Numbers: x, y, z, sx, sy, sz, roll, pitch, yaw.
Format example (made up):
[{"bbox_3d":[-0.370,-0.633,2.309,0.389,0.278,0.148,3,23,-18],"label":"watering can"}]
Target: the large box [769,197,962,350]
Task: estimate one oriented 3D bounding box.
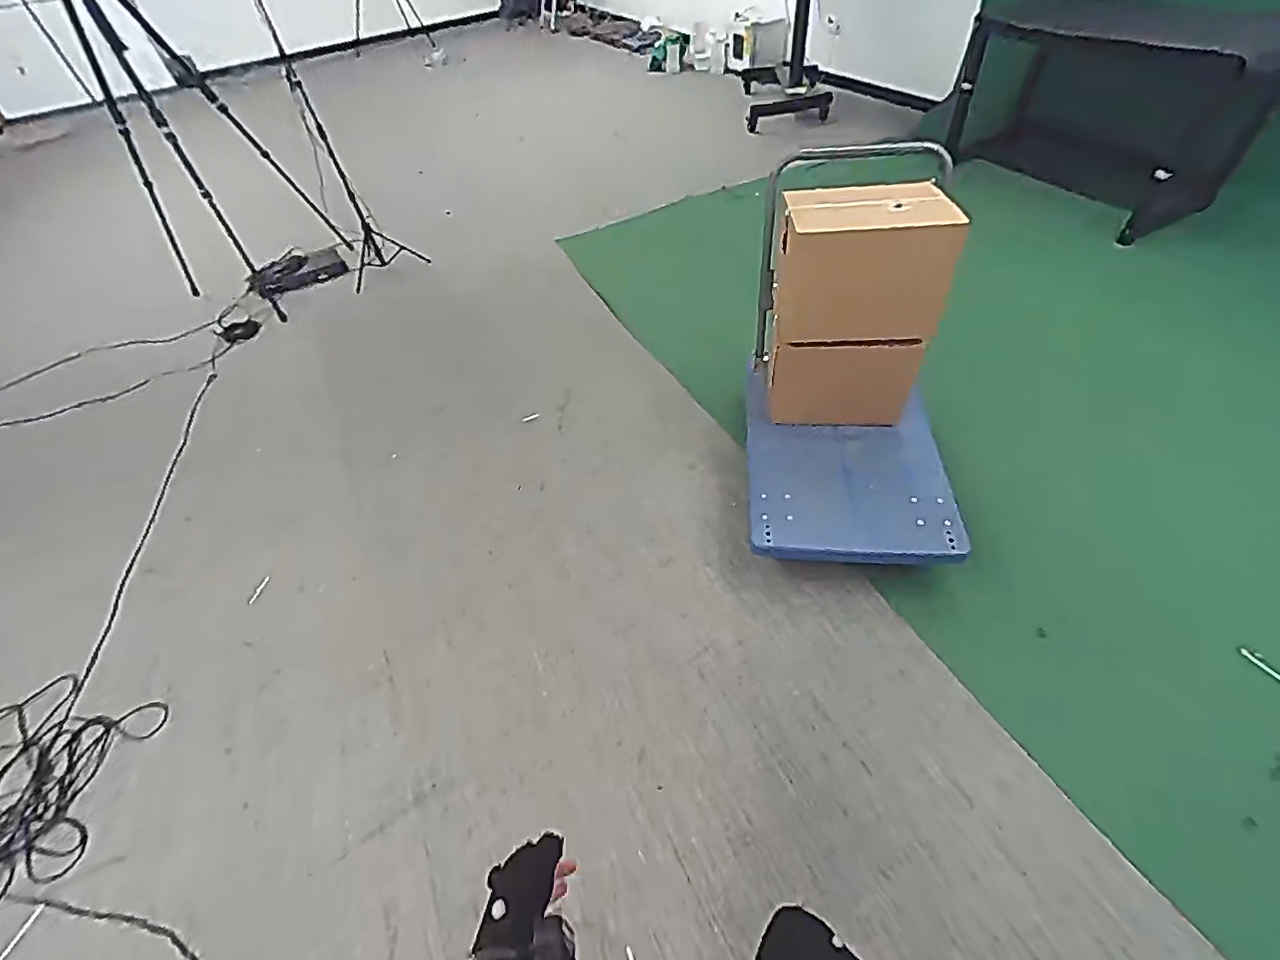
[{"bbox_3d":[0.594,-0.578,1.518,0.408,0.320,0.320,0,44,6],"label":"large box"}]
